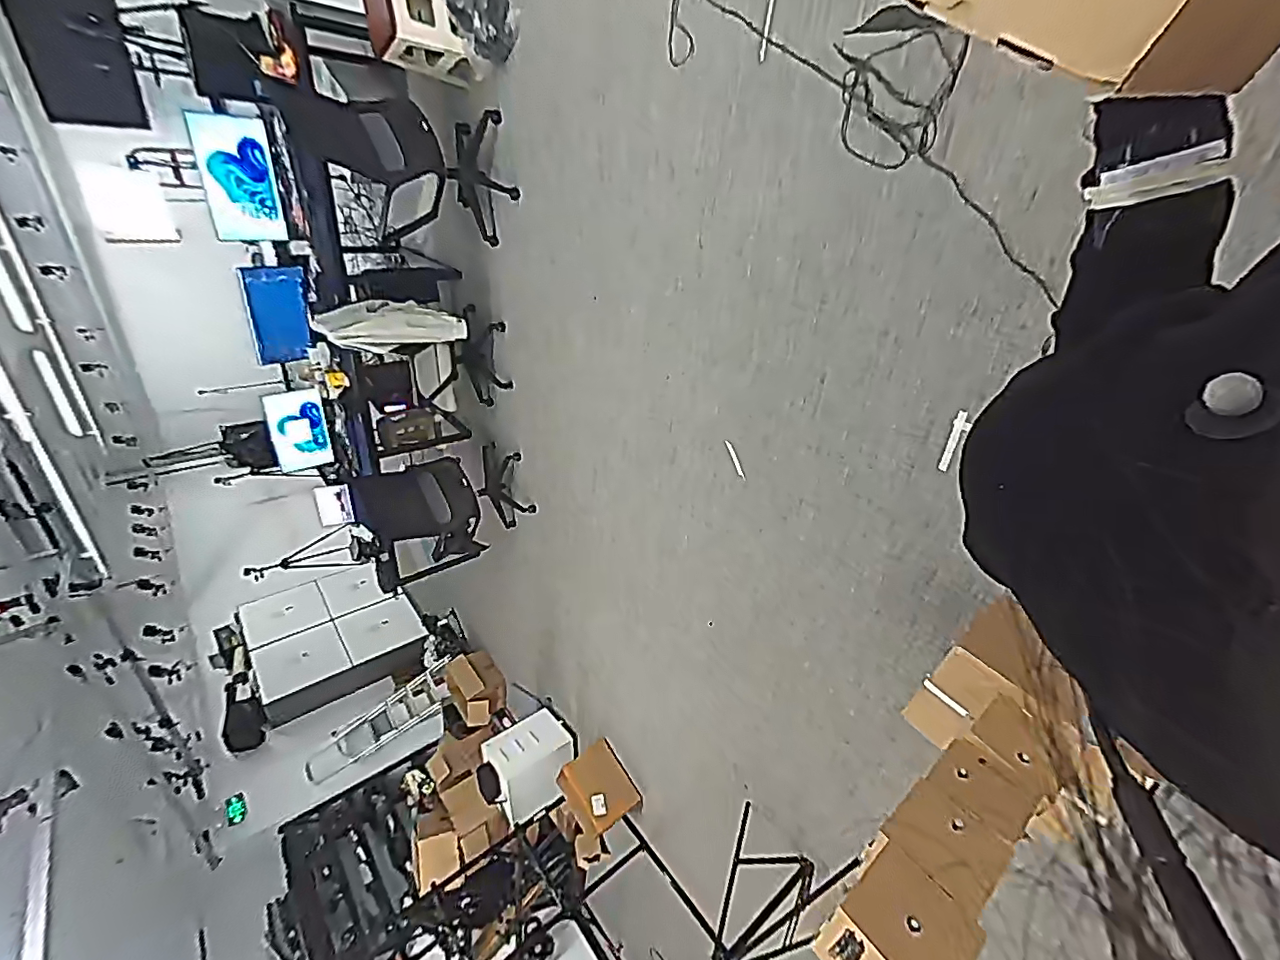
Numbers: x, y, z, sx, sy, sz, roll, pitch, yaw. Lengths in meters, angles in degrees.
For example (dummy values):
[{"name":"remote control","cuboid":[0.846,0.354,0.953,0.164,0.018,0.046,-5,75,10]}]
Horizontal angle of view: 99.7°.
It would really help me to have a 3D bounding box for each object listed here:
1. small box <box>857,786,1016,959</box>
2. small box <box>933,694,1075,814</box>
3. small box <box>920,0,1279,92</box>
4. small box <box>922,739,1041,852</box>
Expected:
[{"name":"small box","cuboid":[0.543,0.706,0.999,0.179,0.176,0.168,35,131,41]},{"name":"small box","cuboid":[0.796,0.610,1.181,0.179,0.176,0.168,43,136,34]},{"name":"small box","cuboid":[0.234,-0.297,0.227,0.168,0.176,0.179,54,150,25]},{"name":"small box","cuboid":[0.673,0.669,1.091,0.168,0.176,0.179,28,127,44]}]
